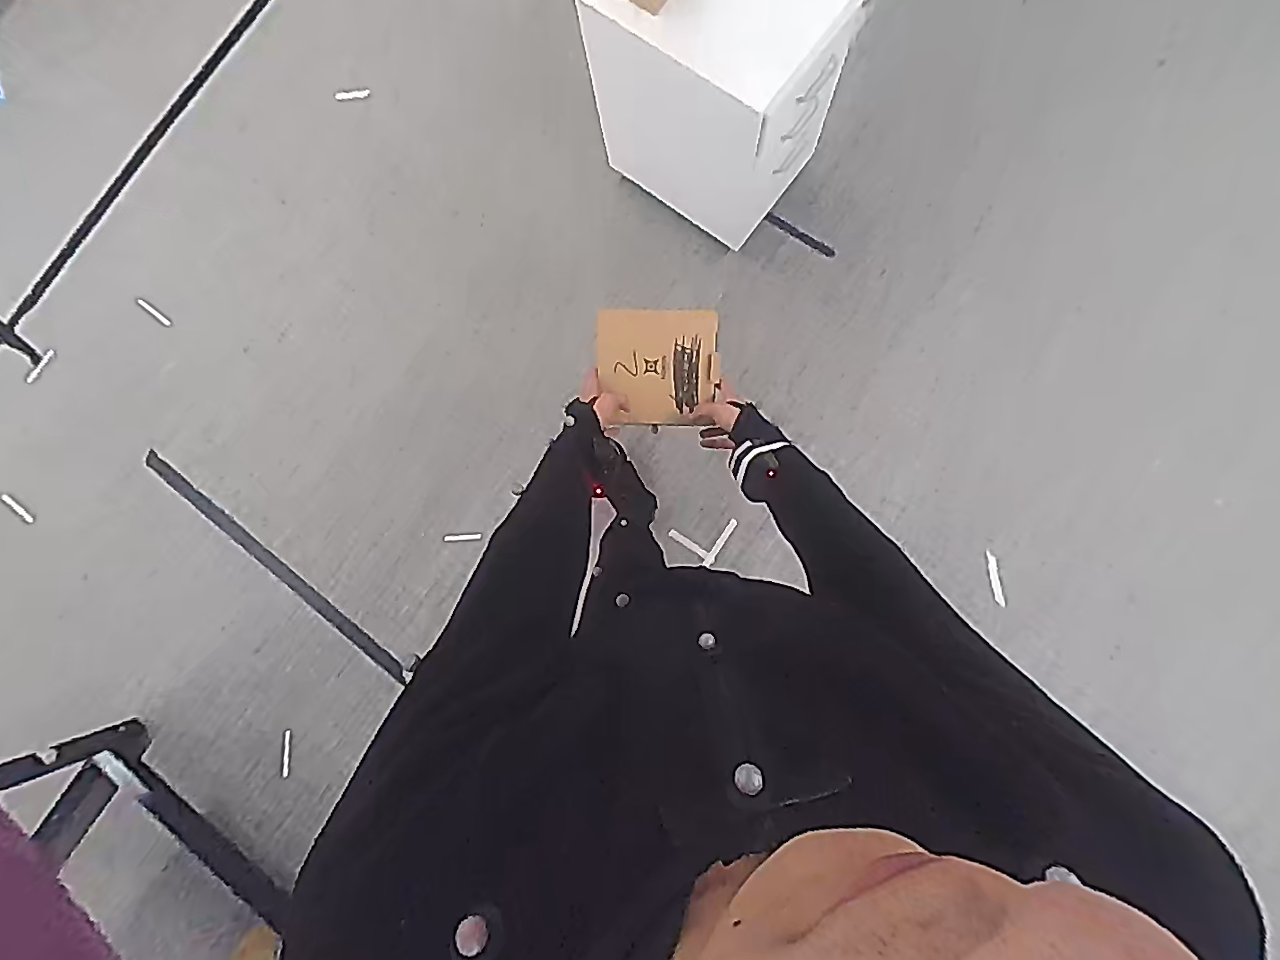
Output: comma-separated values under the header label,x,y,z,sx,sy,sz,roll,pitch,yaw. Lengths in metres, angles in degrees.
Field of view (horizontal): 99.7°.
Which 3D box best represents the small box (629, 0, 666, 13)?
label,x,y,z,sx,sy,sz,roll,pitch,yaw
small box,0.013,-1.108,1.078,0.168,0.176,0.179,36,89,7
